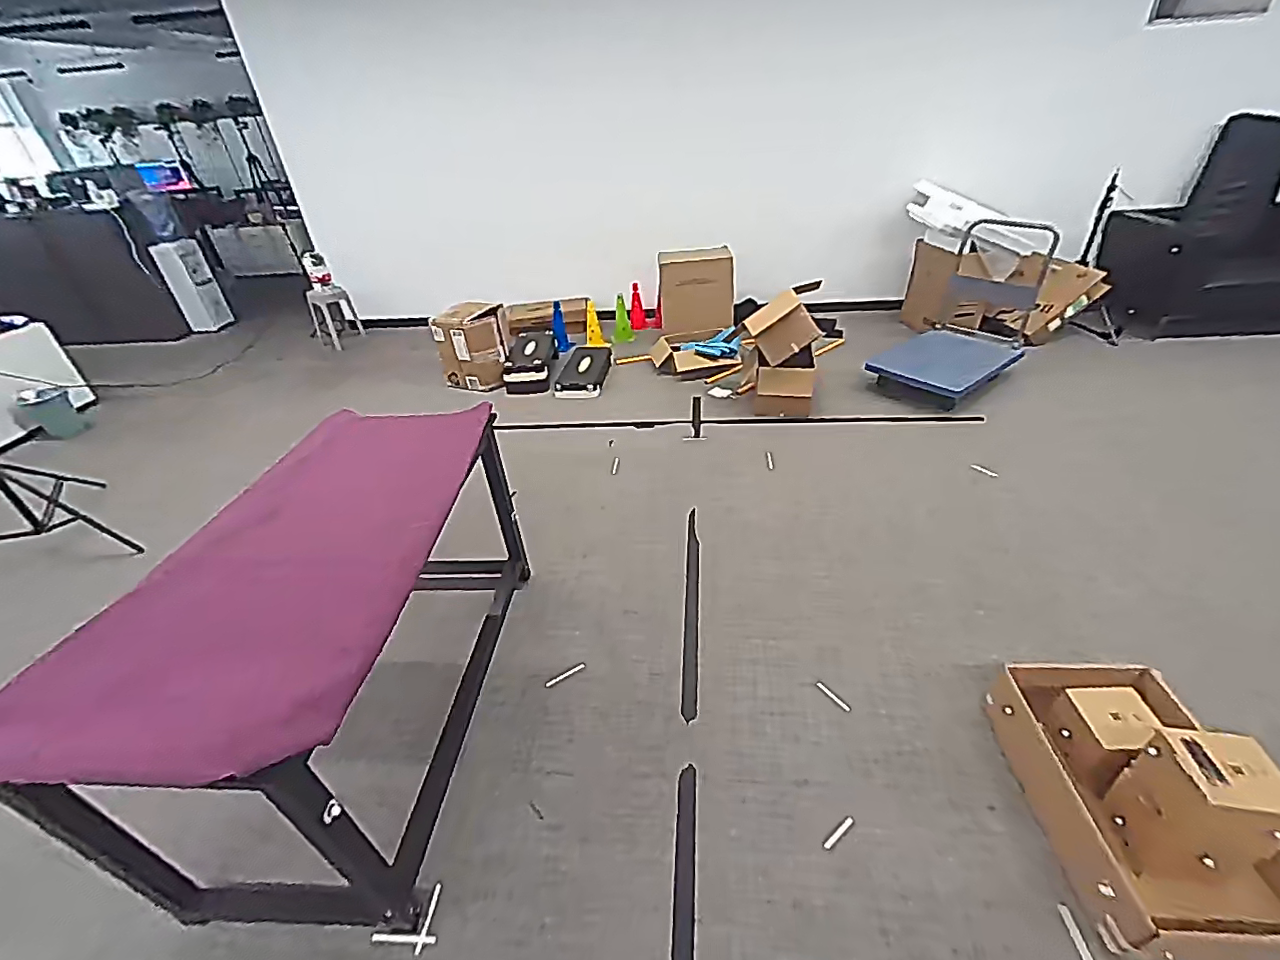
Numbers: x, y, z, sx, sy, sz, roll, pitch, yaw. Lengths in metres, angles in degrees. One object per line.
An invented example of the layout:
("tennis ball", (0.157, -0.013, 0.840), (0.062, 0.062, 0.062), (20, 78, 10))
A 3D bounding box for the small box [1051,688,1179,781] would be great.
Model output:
("small box", (1.215, 0.664, 1.406), (0.179, 0.176, 0.168), (-2, 36, 4))

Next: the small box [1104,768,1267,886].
("small box", (1.221, 0.791, 1.231), (0.179, 0.176, 0.168), (1, 33, 9))
